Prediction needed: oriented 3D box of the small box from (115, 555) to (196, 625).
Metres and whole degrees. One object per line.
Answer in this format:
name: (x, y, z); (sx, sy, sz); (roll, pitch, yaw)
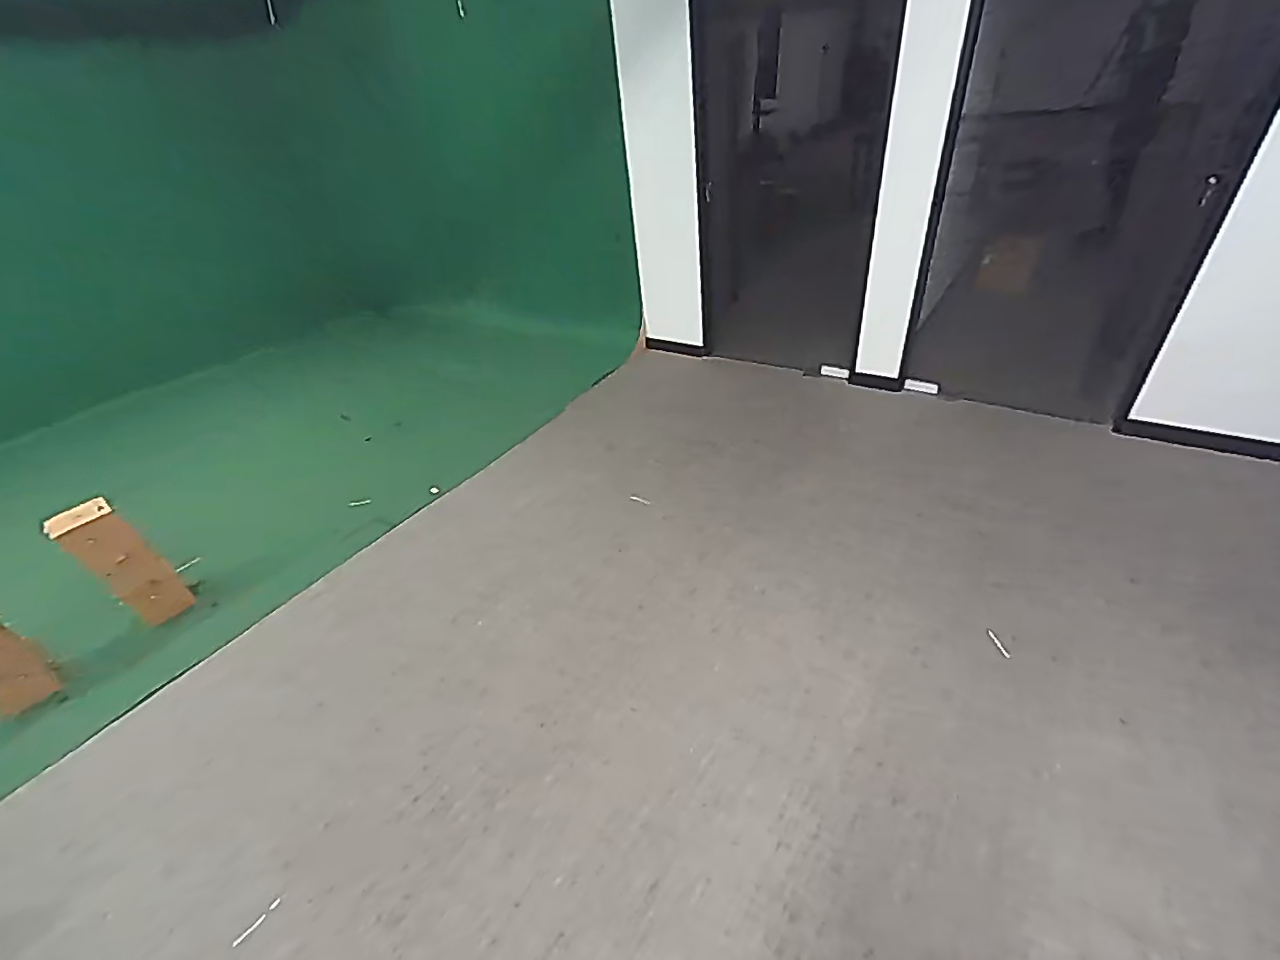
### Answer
small box: (-1.924, 0.438, 2.157); (0.168, 0.176, 0.179); (23, 46, 33)

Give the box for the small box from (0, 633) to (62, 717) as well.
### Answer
small box: (-2.172, 0.676, 1.878); (0.168, 0.176, 0.179); (24, 47, 35)

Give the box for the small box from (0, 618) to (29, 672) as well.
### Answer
small box: (-2.181, 0.551, 1.775); (0.168, 0.176, 0.179); (17, 44, 30)

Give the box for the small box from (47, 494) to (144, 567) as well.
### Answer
small box: (-1.965, 0.183, 1.955); (0.168, 0.176, 0.179); (21, 46, 33)
